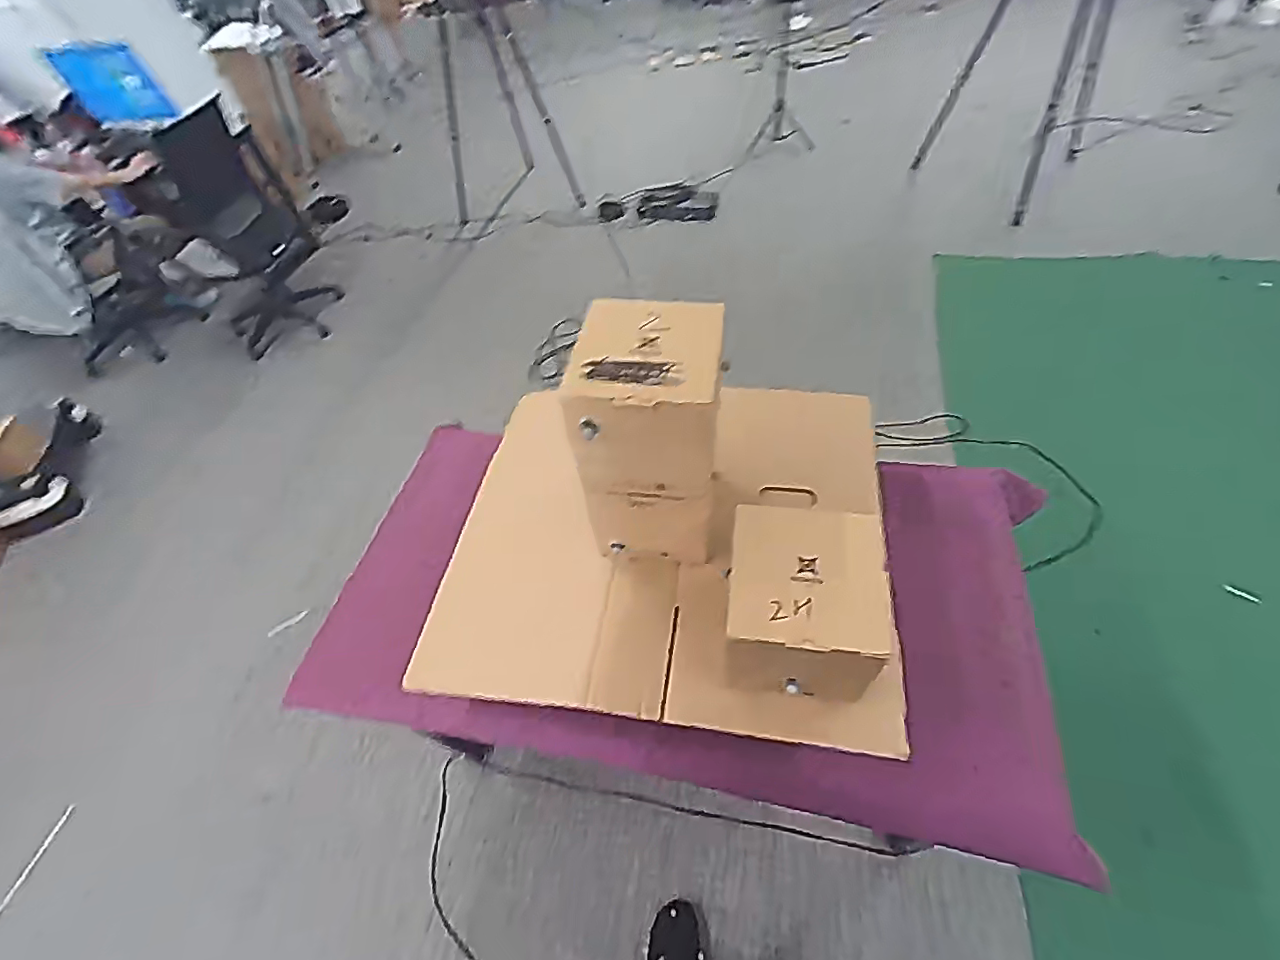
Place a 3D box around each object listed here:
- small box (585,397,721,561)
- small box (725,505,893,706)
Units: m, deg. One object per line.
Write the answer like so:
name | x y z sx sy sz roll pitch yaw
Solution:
small box | 0.028 0.002 0.796 0.168 0.176 0.179 5 53 9
small box | 0.194 0.154 0.661 0.168 0.176 0.179 5 54 11
